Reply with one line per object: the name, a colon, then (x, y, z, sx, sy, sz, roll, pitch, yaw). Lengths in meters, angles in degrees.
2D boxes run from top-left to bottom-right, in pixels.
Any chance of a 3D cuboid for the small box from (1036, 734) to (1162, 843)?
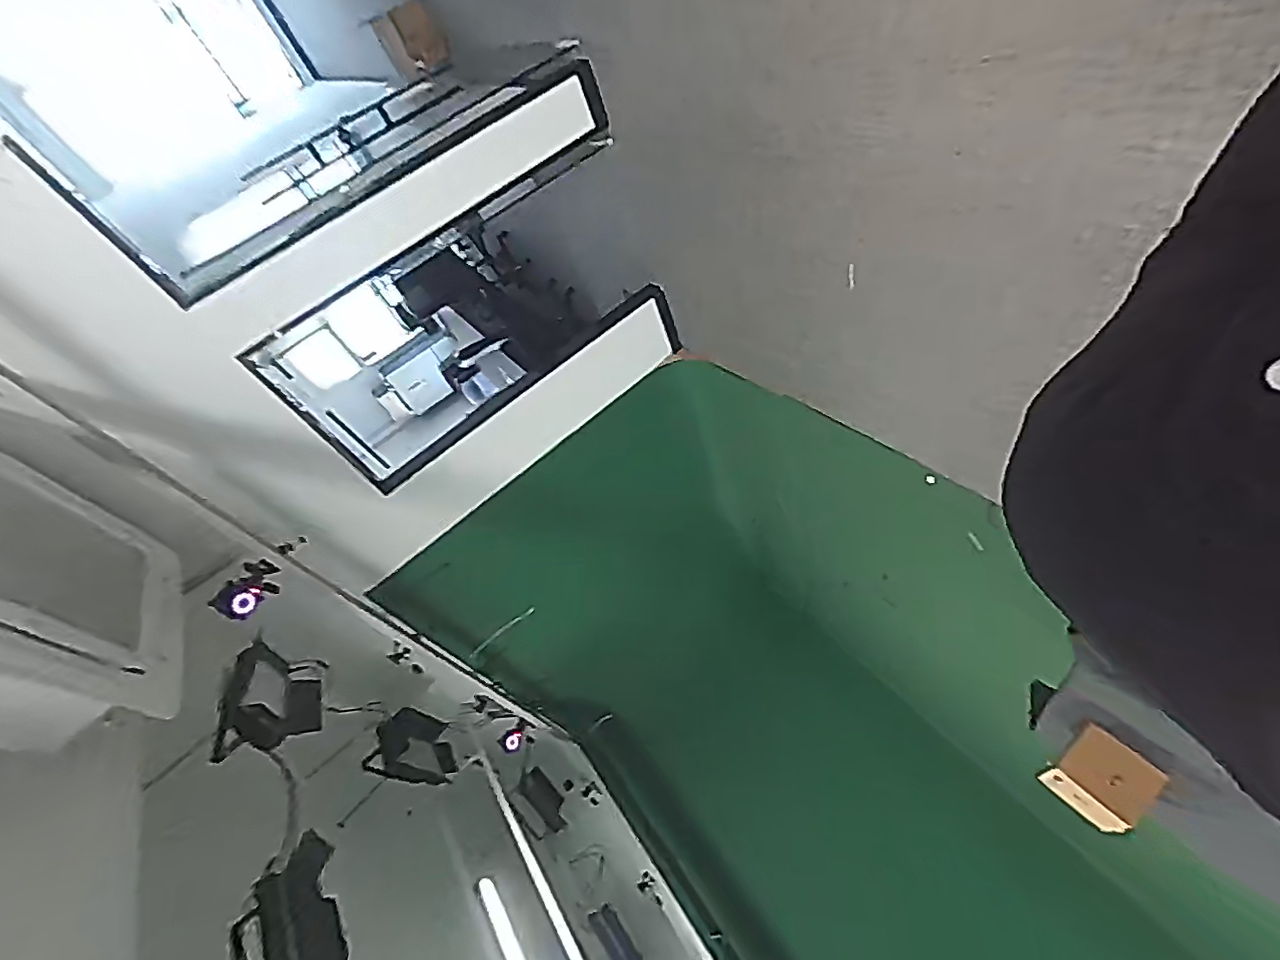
small box: (1.201, 0.809, 1.420, 0.179, 0.176, 0.168, 40, 163, 37)
